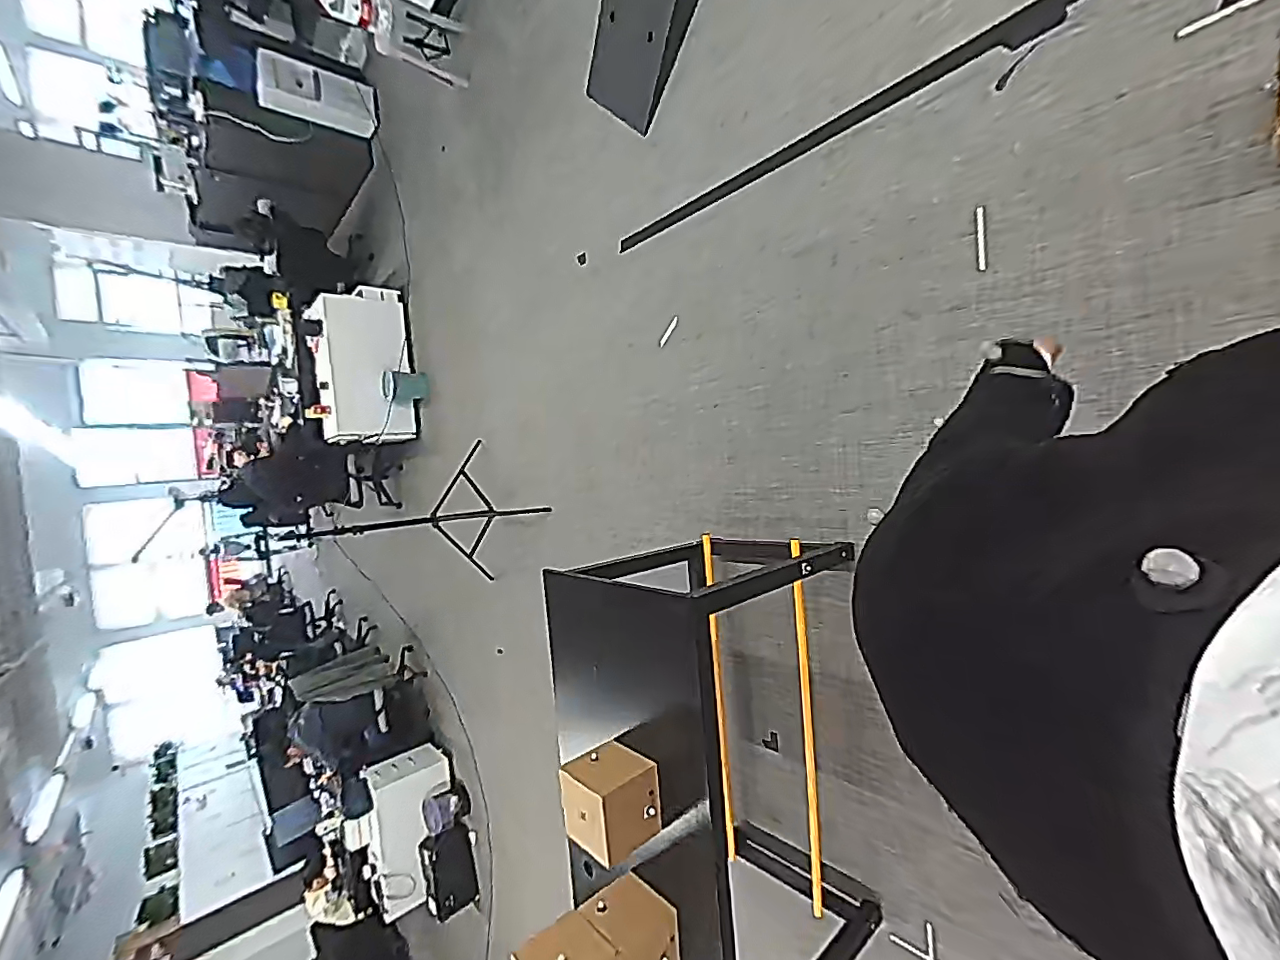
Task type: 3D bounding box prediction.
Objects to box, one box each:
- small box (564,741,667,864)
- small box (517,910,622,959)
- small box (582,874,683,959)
[{"bbox_3d":[-0.059,0.750,1.286,0.179,0.176,0.168,-3,94,49],"label":"small box"},{"bbox_3d":[-0.146,1.103,1.181,0.179,0.176,0.168,-4,92,49],"label":"small box"},{"bbox_3d":[-0.016,1.085,1.280,0.179,0.176,0.168,0,96,49],"label":"small box"}]
